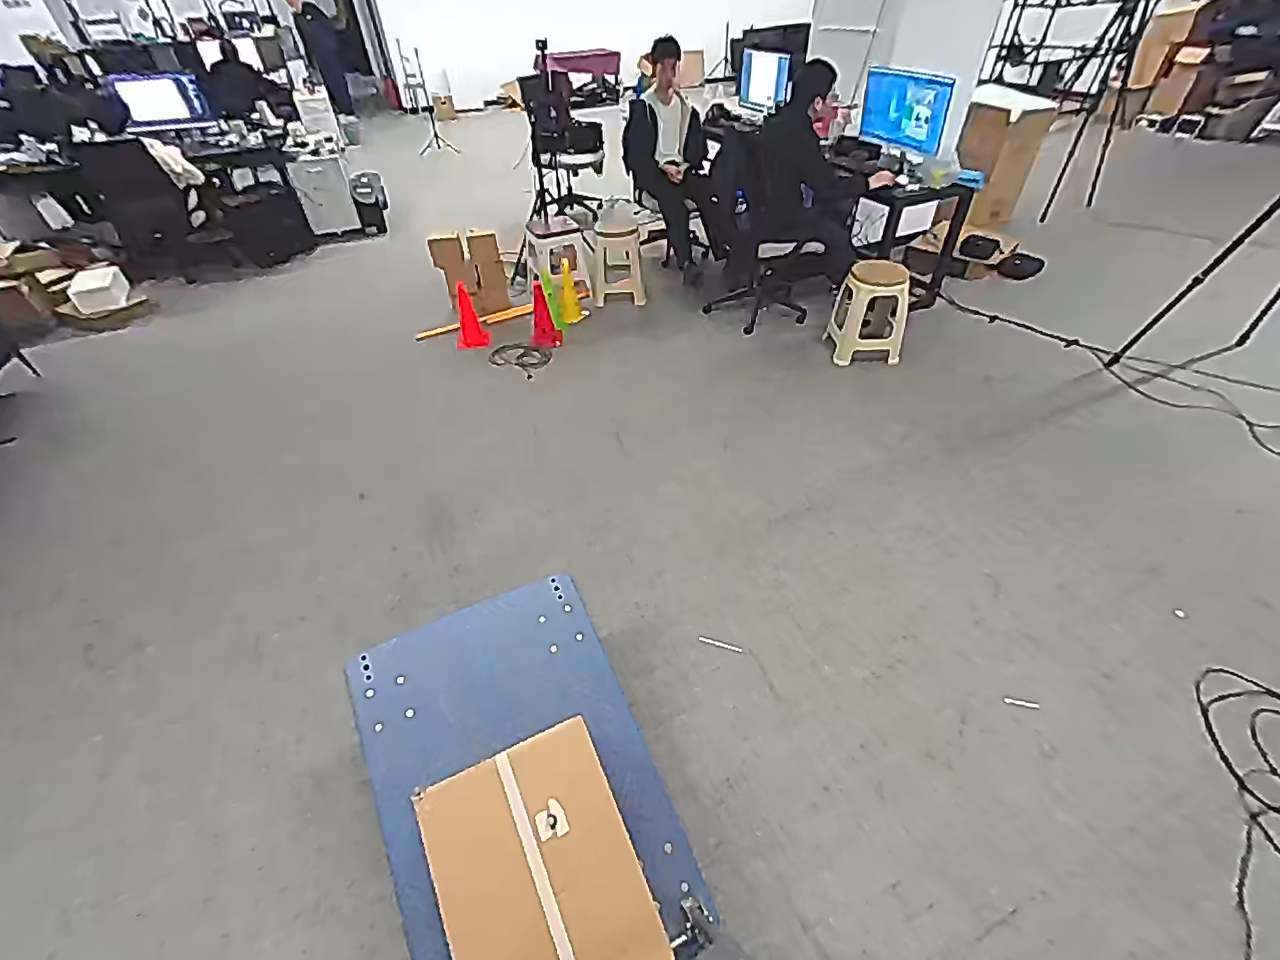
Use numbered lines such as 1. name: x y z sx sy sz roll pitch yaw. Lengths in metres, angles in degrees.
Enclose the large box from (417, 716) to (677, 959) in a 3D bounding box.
1. large box: -0.174 0.725 1.022 0.320 0.320 0.408 -20 65 -18
